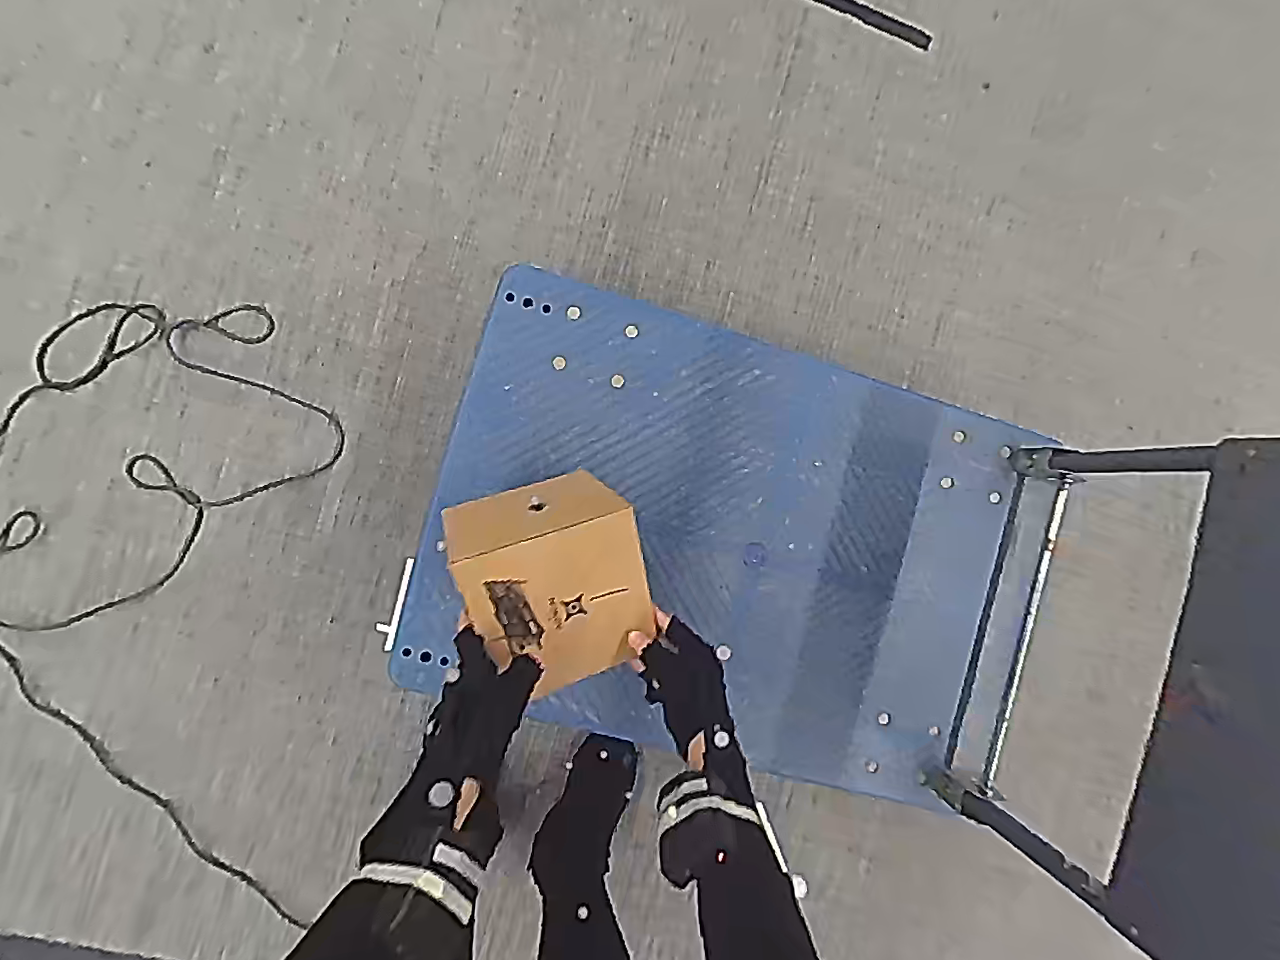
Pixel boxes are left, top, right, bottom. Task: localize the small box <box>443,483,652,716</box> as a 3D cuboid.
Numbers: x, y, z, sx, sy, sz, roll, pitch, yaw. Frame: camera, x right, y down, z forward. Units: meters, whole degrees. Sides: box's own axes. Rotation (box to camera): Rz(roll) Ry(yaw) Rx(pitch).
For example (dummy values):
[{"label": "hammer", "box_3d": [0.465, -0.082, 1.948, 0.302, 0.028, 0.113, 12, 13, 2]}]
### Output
[{"label": "small box", "box_3d": [-0.108, 0.114, 0.595, 0.179, 0.176, 0.168, -17, 108, -19]}]
